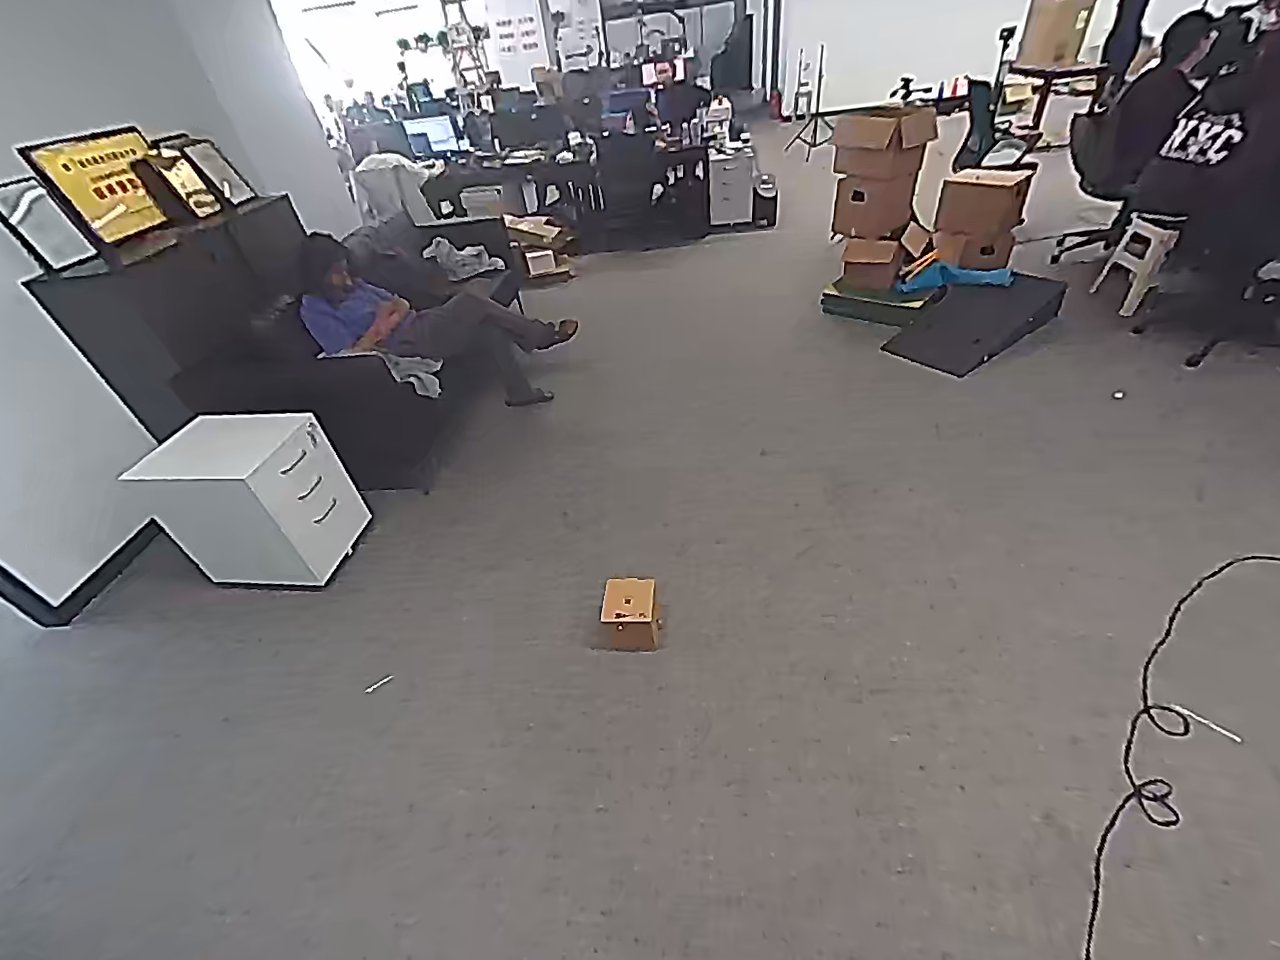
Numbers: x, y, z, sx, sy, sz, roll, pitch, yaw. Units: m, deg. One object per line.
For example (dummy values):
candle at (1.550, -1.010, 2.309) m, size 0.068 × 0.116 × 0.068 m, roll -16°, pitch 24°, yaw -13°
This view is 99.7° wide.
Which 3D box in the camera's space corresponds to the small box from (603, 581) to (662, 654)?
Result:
small box at (-0.019, 0.463, 1.824) m, size 0.168 × 0.176 × 0.179 m, roll -1°, pitch 39°, yaw 10°
